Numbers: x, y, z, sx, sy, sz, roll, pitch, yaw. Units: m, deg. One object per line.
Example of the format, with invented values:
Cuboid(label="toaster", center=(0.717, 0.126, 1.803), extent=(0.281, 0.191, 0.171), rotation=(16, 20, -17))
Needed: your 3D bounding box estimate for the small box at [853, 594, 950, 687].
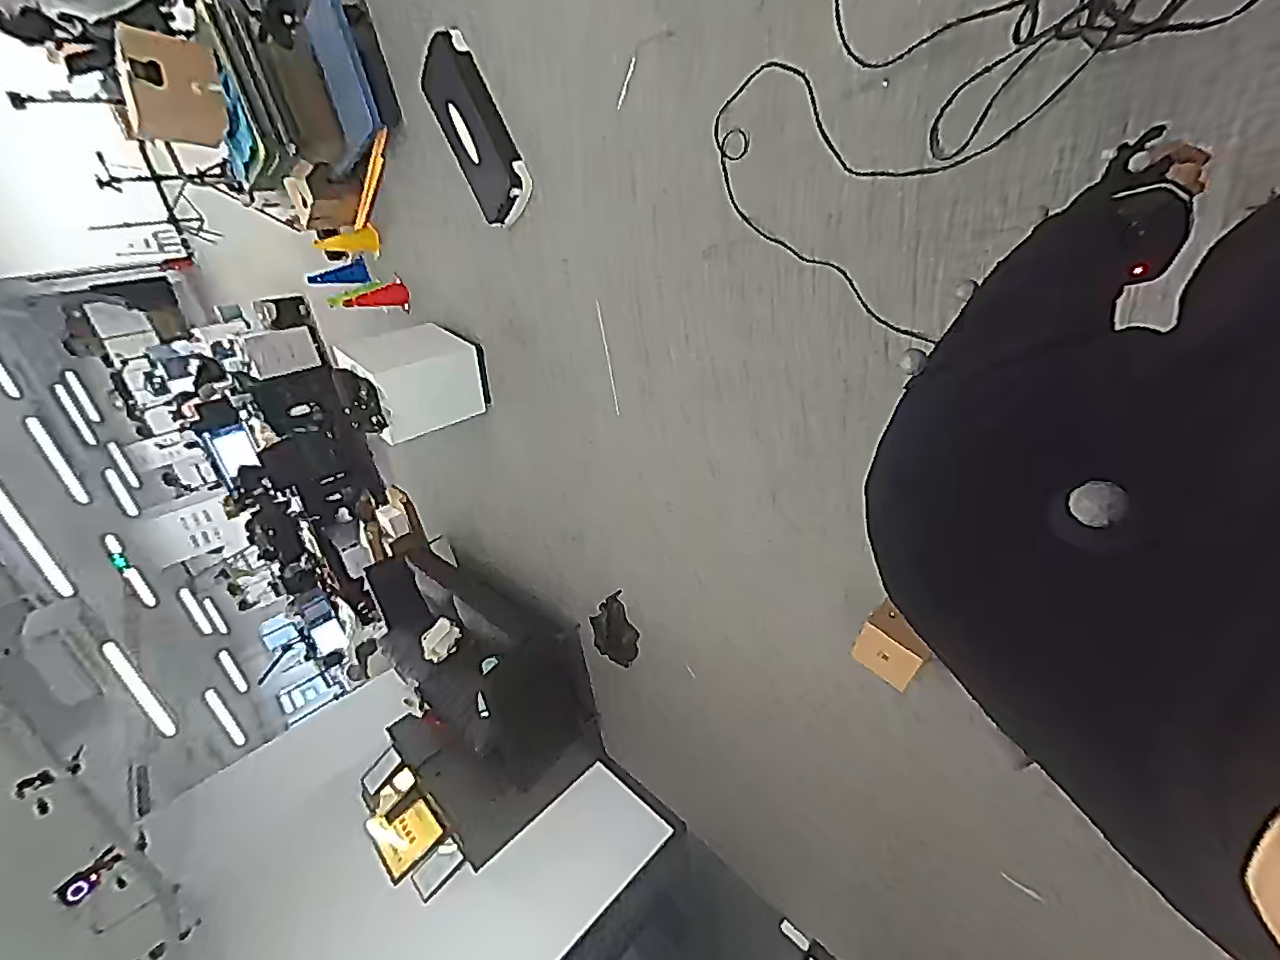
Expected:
Cuboid(label="small box", center=(0.772, 0.464, 1.599), extent=(0.179, 0.176, 0.168), rotation=(34, 137, 33))
